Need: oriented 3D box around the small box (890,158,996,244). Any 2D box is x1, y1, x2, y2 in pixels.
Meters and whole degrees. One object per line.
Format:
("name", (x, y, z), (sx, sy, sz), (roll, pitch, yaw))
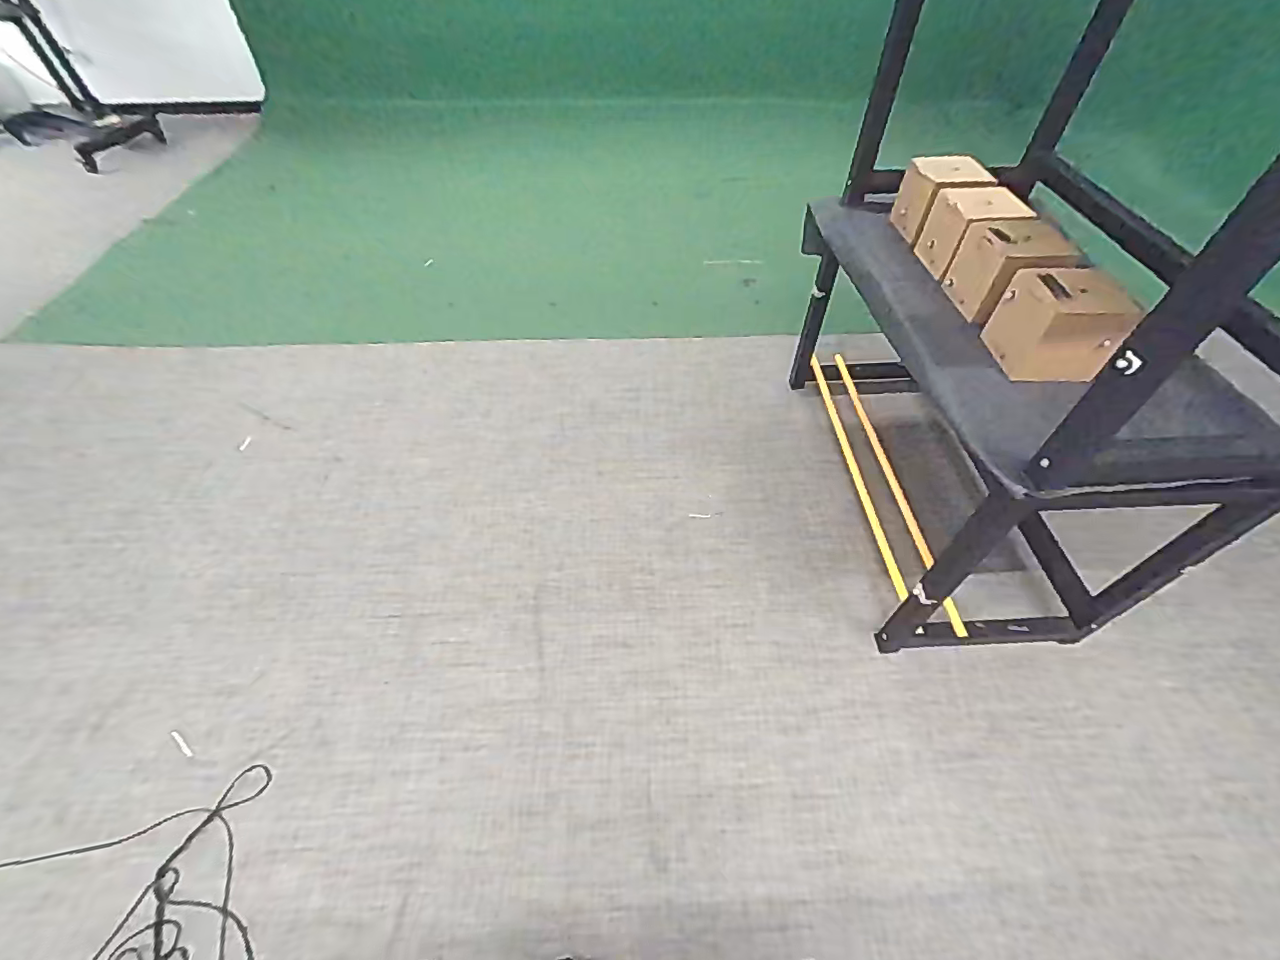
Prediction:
("small box", (0.843, -0.784, 1.523), (0.179, 0.176, 0.168), (-4, 50, -3))
